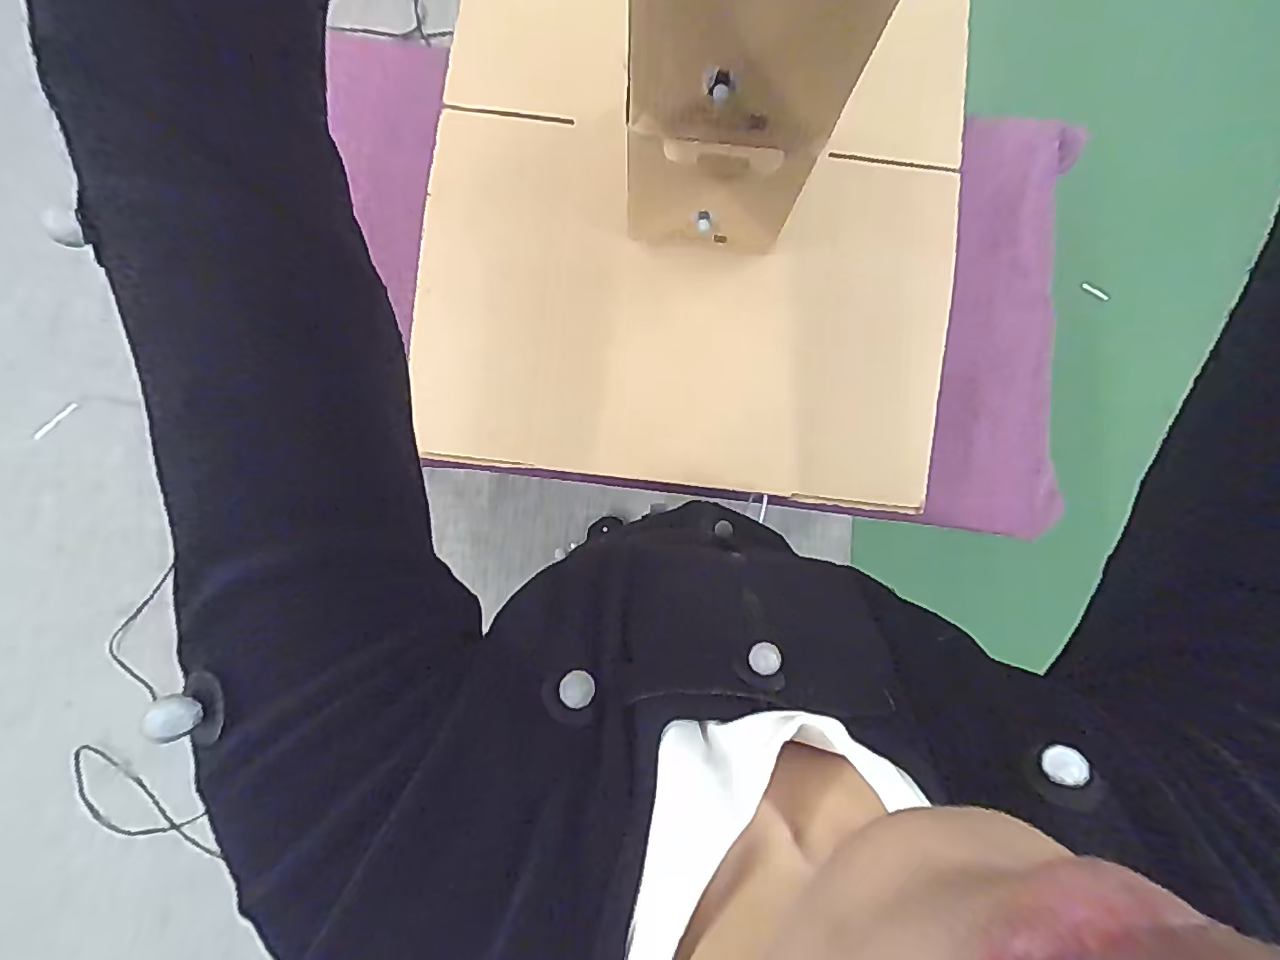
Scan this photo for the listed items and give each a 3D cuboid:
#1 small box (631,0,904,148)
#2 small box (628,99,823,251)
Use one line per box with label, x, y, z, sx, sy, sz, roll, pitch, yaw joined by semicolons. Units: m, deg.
small box;0.084;-0.377;0.376;0.168;0.176;0.179;5;85;-2
small box;0.079;-0.361;0.538;0.168;0.176;0.179;7;85;-1
